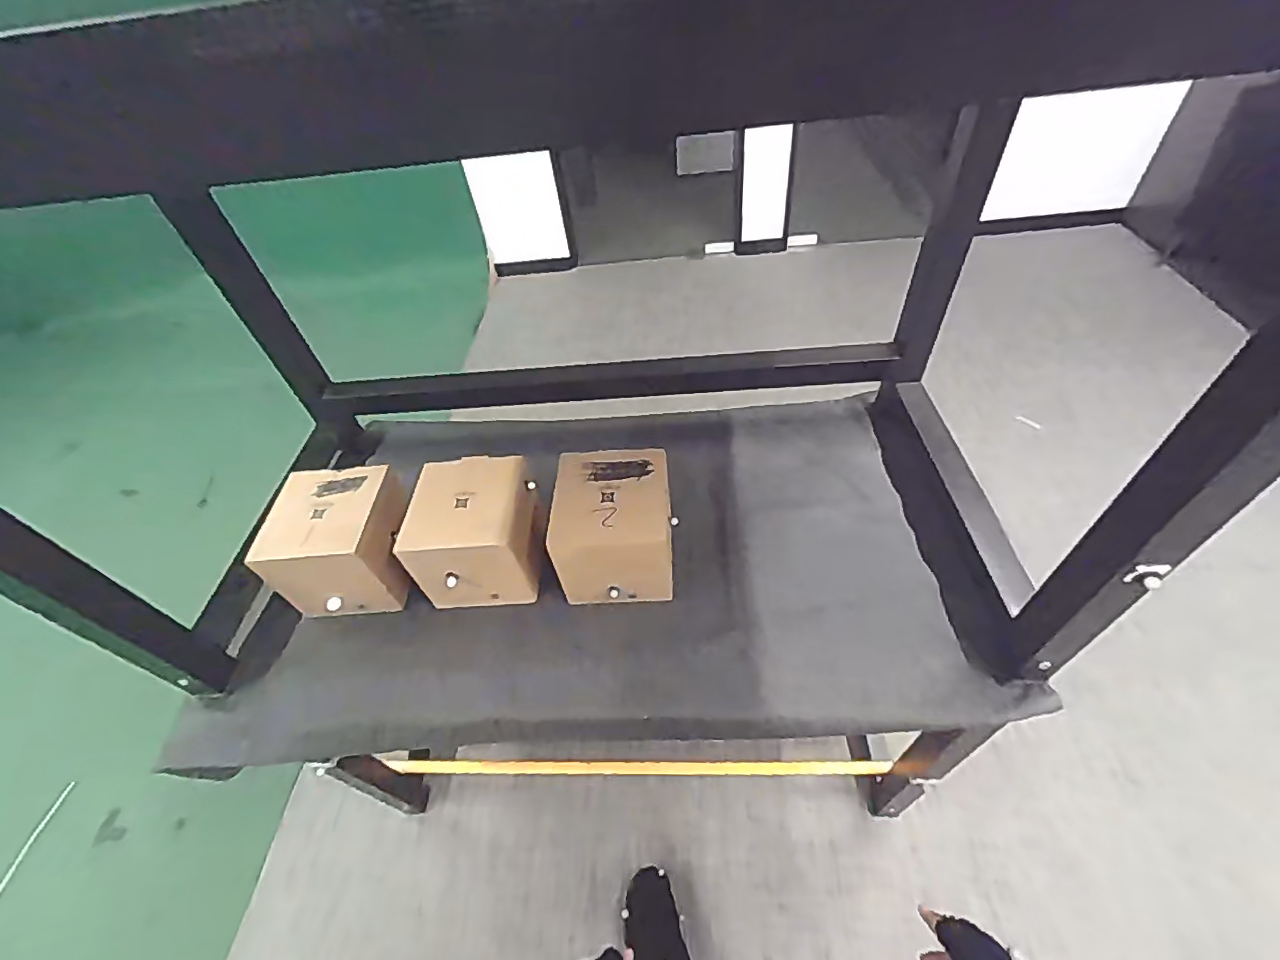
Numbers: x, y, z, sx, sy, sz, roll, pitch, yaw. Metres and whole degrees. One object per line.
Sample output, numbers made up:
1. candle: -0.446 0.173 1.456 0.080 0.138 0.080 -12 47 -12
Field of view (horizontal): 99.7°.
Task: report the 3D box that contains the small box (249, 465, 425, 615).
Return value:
1. small box: -0.473 0.099 0.880 0.168 0.176 0.179 -5 48 4
